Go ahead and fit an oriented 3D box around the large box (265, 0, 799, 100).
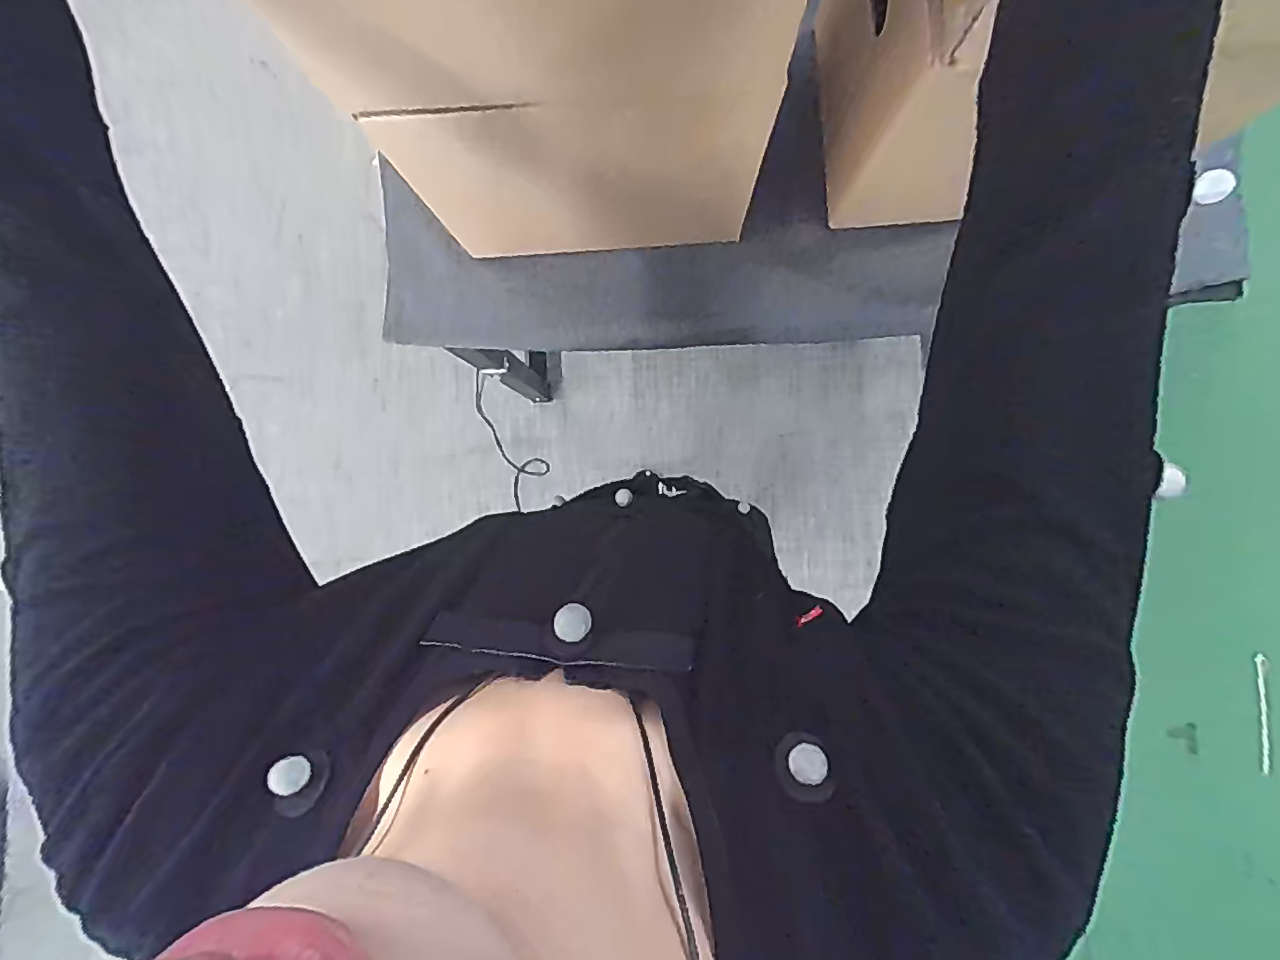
[{"bbox_3d":[-0.083,-0.503,0.341,0.408,0.320,0.320,-2,90,1],"label":"large box"}]
